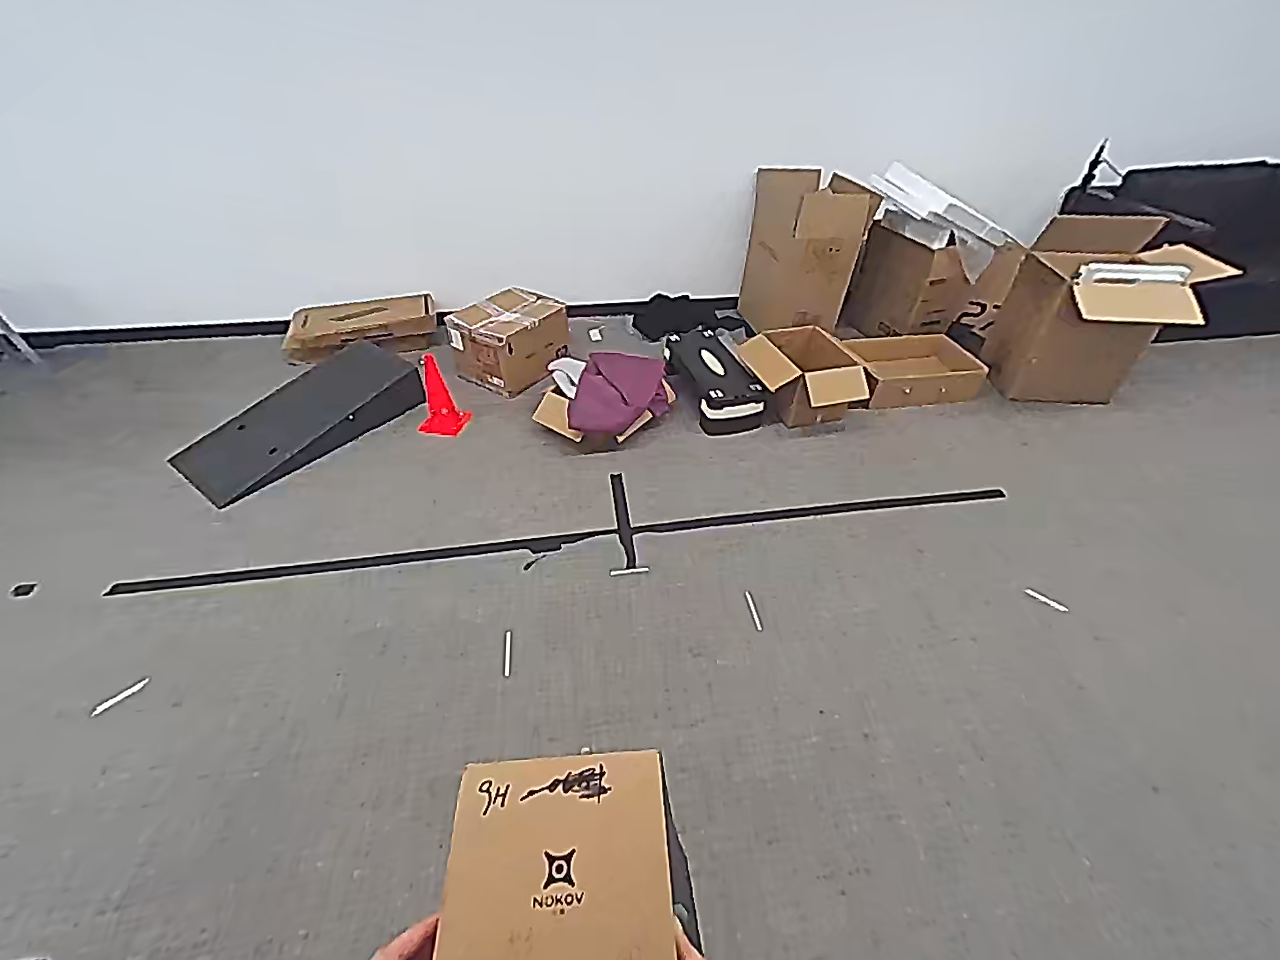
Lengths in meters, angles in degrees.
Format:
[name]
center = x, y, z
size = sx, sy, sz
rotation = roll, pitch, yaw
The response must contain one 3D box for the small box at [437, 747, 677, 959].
[small box]
center = -0.056, 0.348, 0.452
size = 0.168, 0.176, 0.179
rotation = -4, 46, -2
